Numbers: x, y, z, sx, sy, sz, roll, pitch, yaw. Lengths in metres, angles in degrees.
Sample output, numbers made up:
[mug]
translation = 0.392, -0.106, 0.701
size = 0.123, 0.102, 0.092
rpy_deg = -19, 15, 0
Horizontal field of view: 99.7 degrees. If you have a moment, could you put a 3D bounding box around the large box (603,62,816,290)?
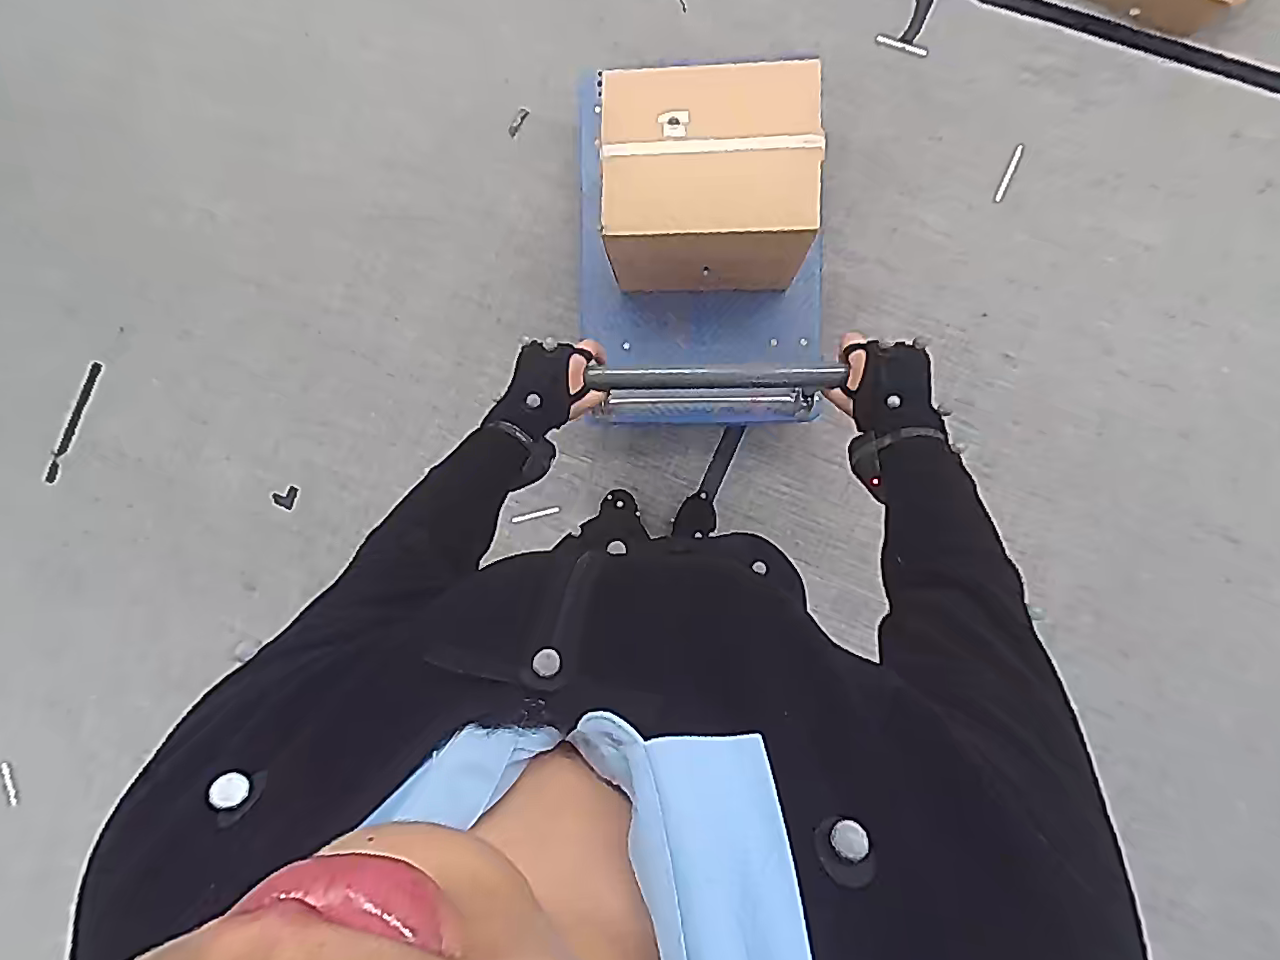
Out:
[large box]
translation = 0.143, -0.617, 1.163
size = 0.408, 0.320, 0.320
rpy_deg = 0, 89, 6
